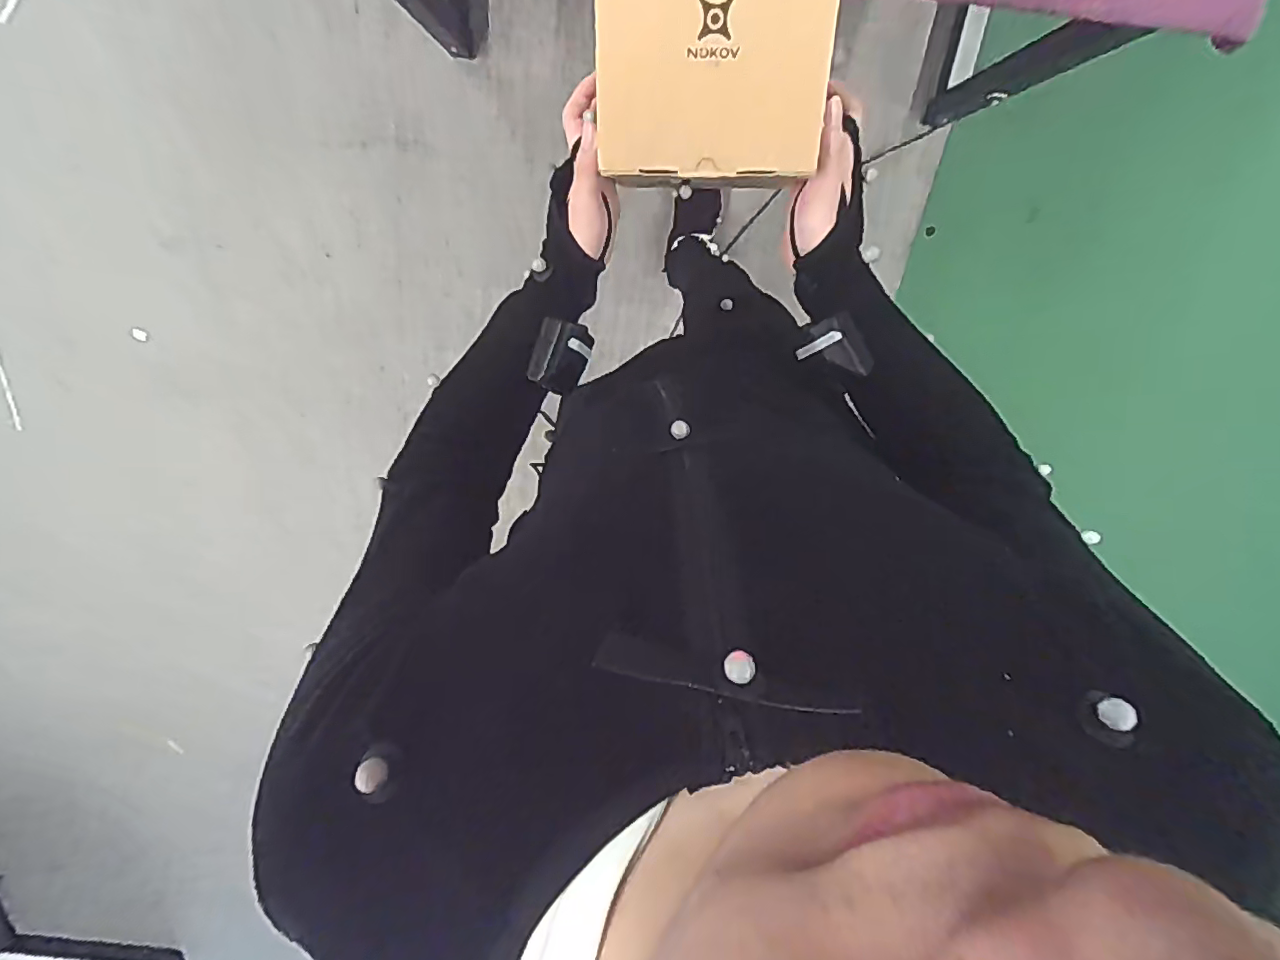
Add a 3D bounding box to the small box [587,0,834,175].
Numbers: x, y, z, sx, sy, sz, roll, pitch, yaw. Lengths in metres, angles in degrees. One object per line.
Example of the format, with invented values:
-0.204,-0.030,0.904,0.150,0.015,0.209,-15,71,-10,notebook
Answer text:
0.048,-0.348,0.428,0.168,0.176,0.179,2,117,2,small box
